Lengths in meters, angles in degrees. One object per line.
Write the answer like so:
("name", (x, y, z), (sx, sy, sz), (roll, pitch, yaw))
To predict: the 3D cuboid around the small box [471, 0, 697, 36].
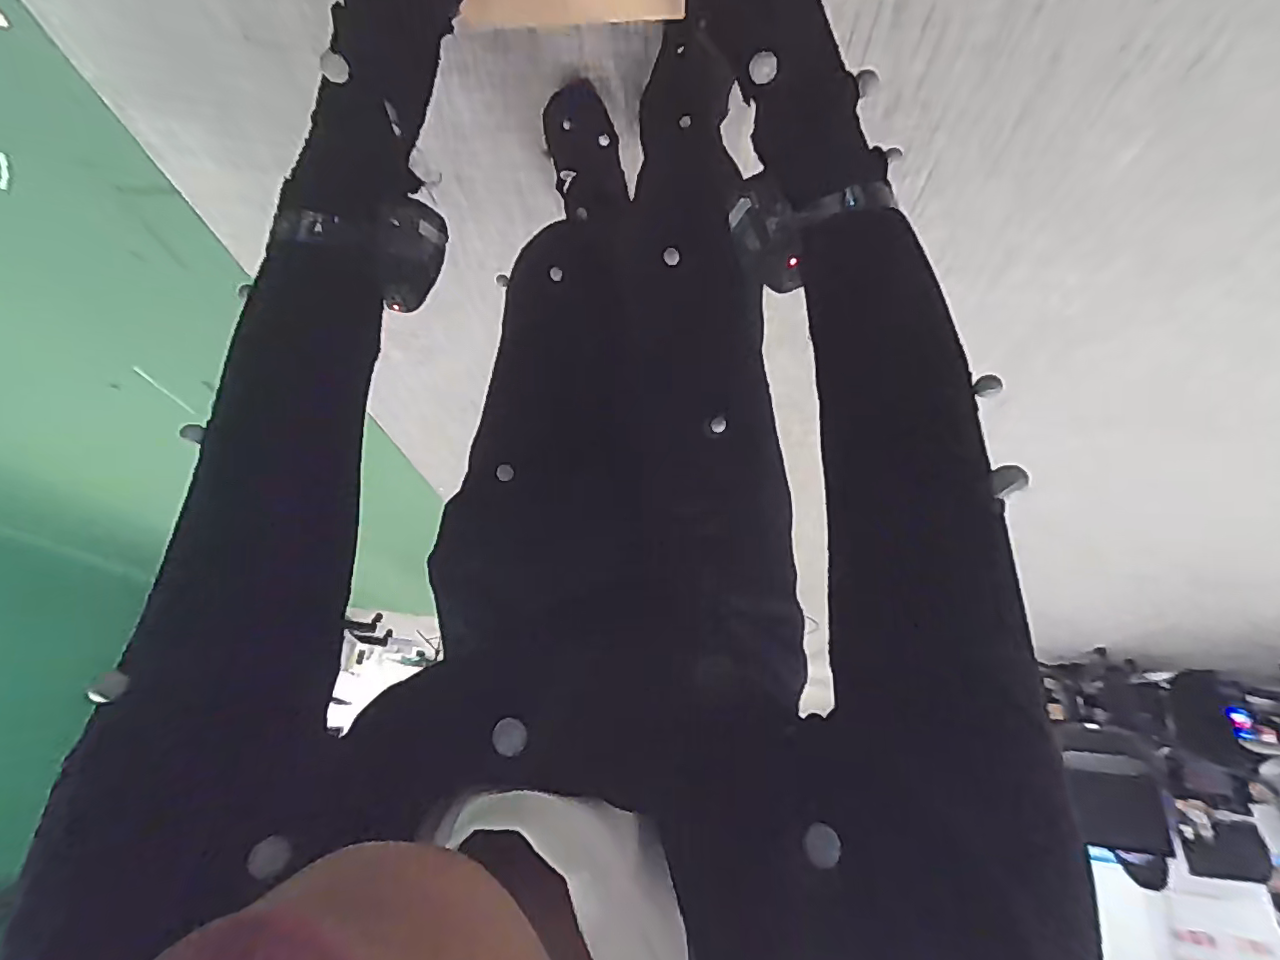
("small box", (-0.042, -0.449, 0.364), (0.168, 0.176, 0.179), (1, 155, 6))
